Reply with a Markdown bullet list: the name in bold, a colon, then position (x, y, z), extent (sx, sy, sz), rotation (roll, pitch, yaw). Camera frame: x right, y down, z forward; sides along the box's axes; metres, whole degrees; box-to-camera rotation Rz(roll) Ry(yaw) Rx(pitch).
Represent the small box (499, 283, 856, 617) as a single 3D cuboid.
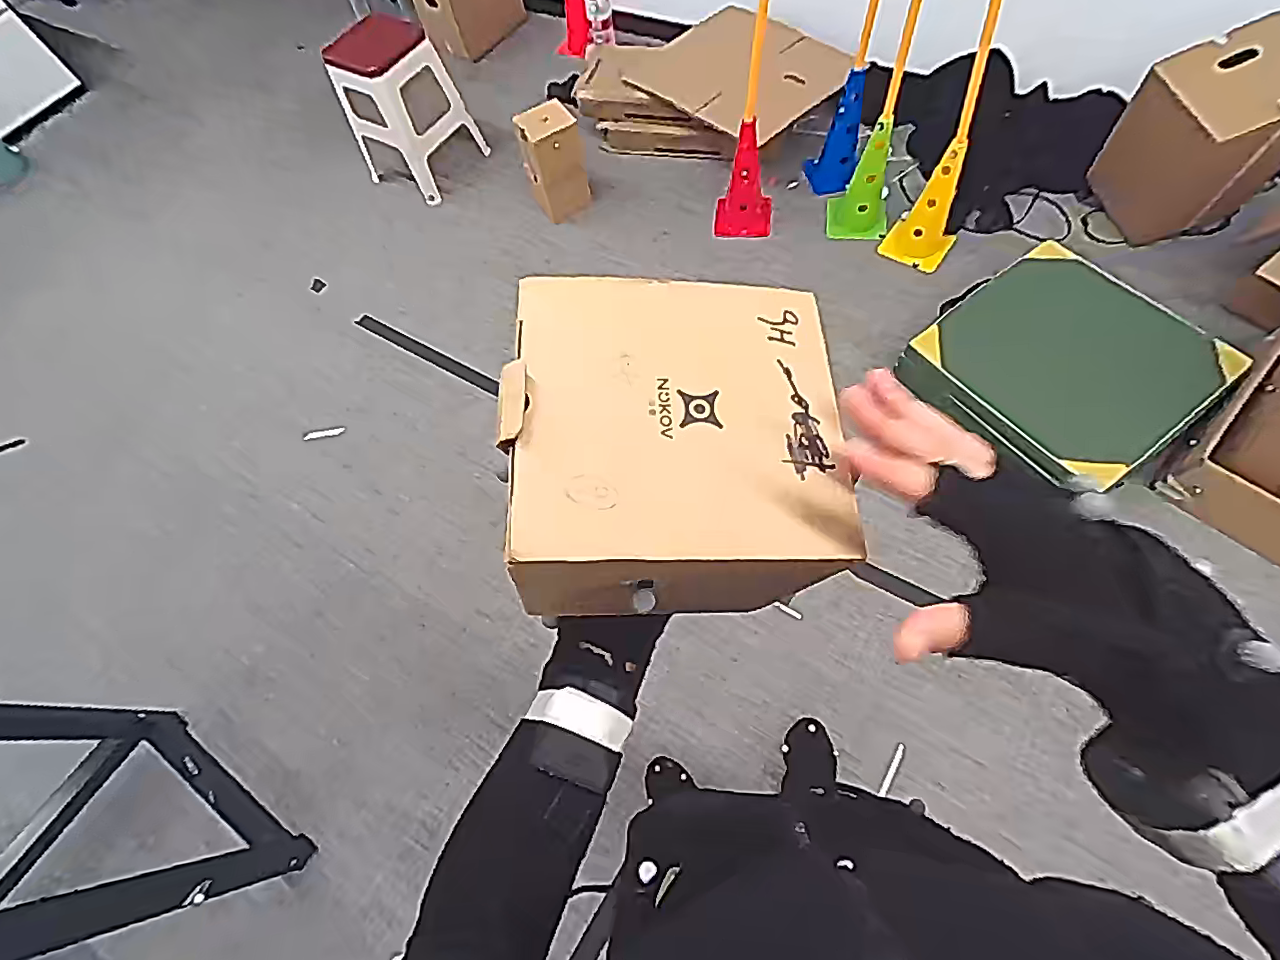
- **small box**: position (0.008, -0.007, 0.360), extent (0.179, 0.176, 0.168), rotation (-2, 68, -8)
